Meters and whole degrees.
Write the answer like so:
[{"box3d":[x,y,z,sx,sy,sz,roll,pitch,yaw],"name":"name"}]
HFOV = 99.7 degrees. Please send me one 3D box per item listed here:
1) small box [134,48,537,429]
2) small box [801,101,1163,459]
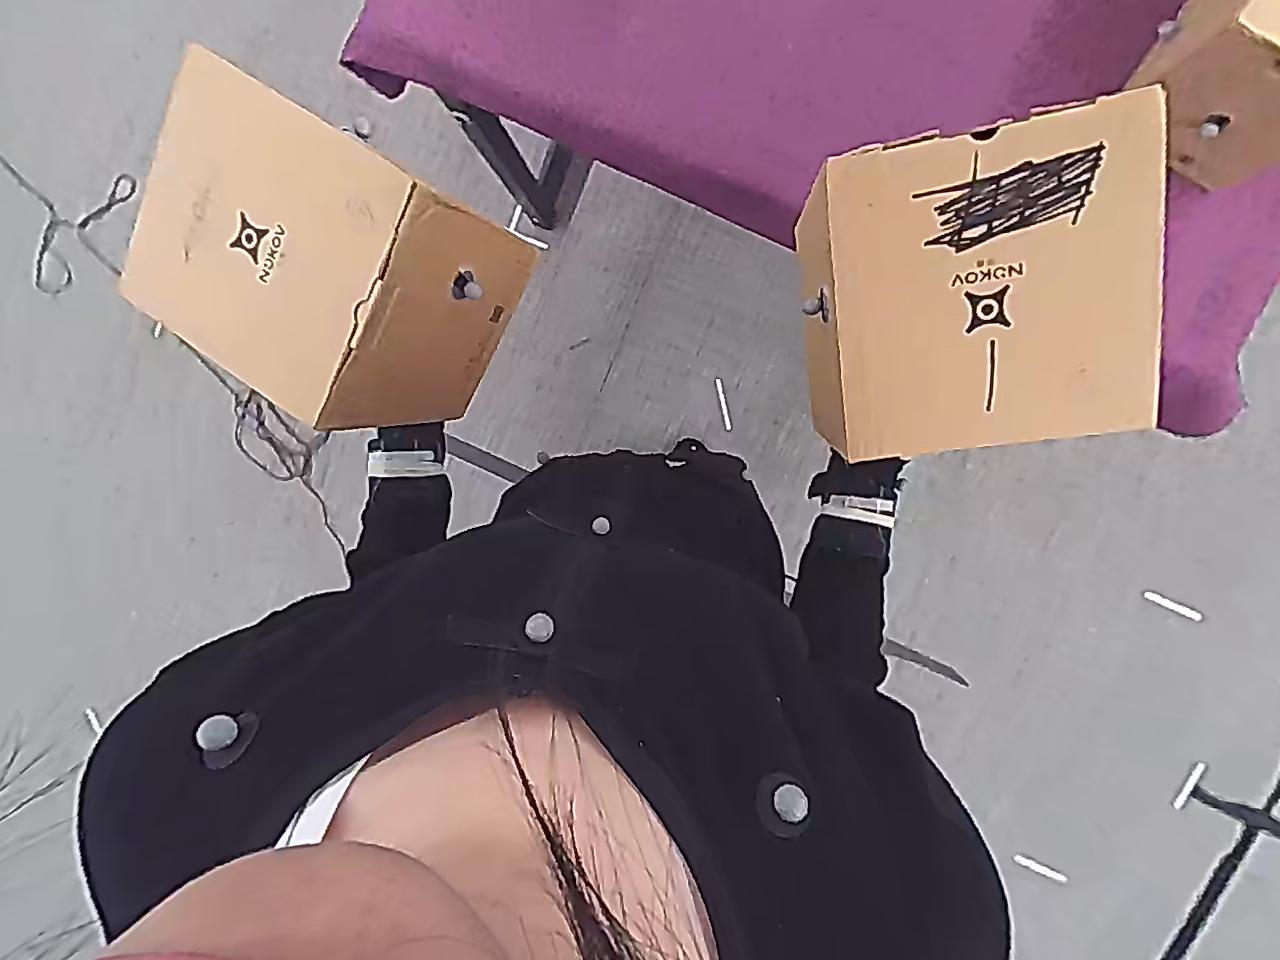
[{"box3d":[-0.207,-0.157,0.407,0.179,0.176,0.168,33,104,7],"name":"small box"},{"box3d":[0.213,-0.120,0.385,0.168,0.176,0.179,-6,101,12],"name":"small box"}]
